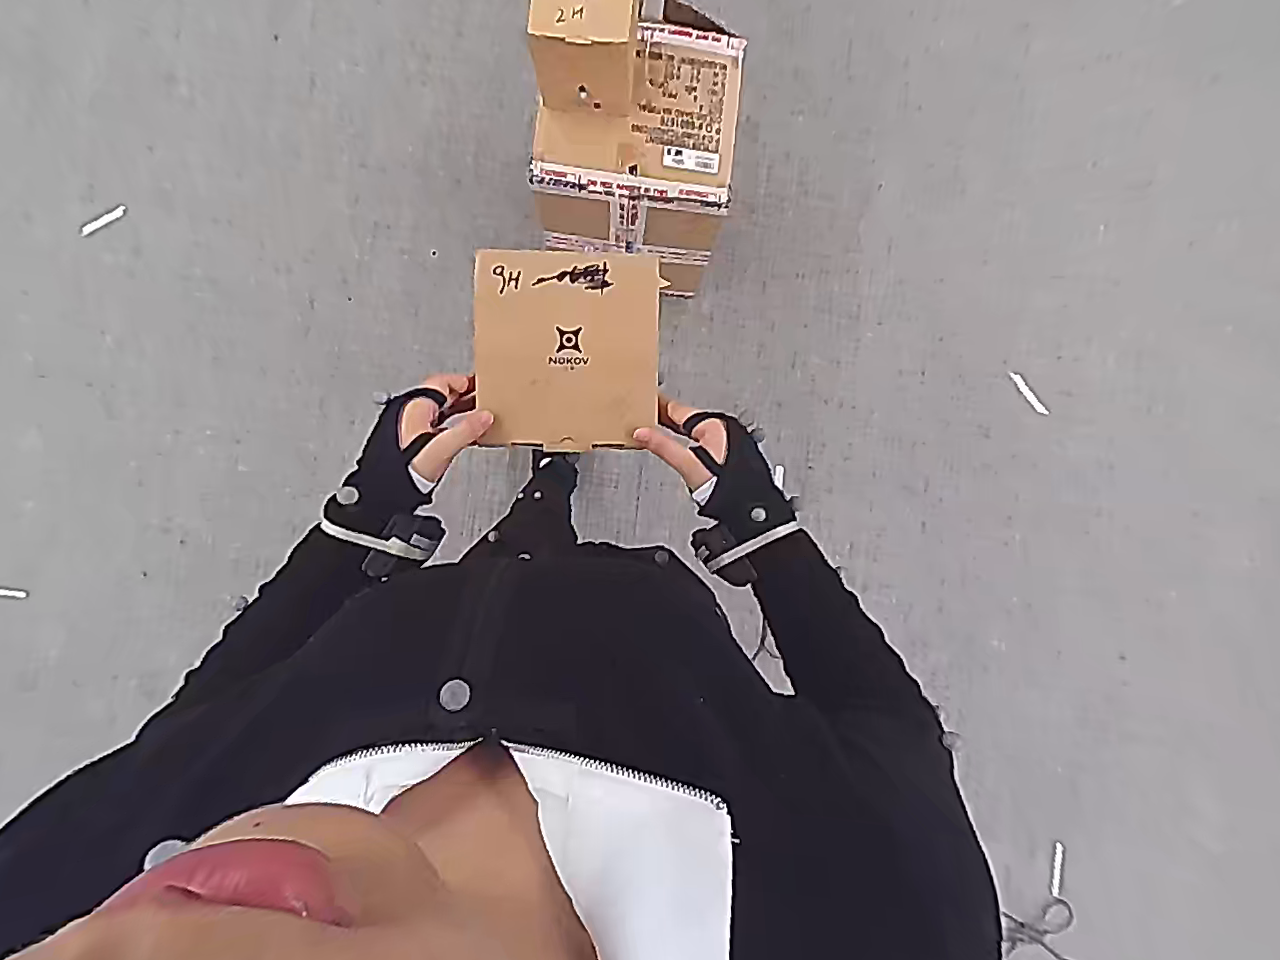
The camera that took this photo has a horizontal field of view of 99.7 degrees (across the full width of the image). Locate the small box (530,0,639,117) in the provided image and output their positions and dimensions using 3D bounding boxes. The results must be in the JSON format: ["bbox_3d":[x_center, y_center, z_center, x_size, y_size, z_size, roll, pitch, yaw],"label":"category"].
[{"bbox_3d":[-0.090,-0.790,0.954,0.168,0.176,0.179,5,89,0],"label":"small box"}]
